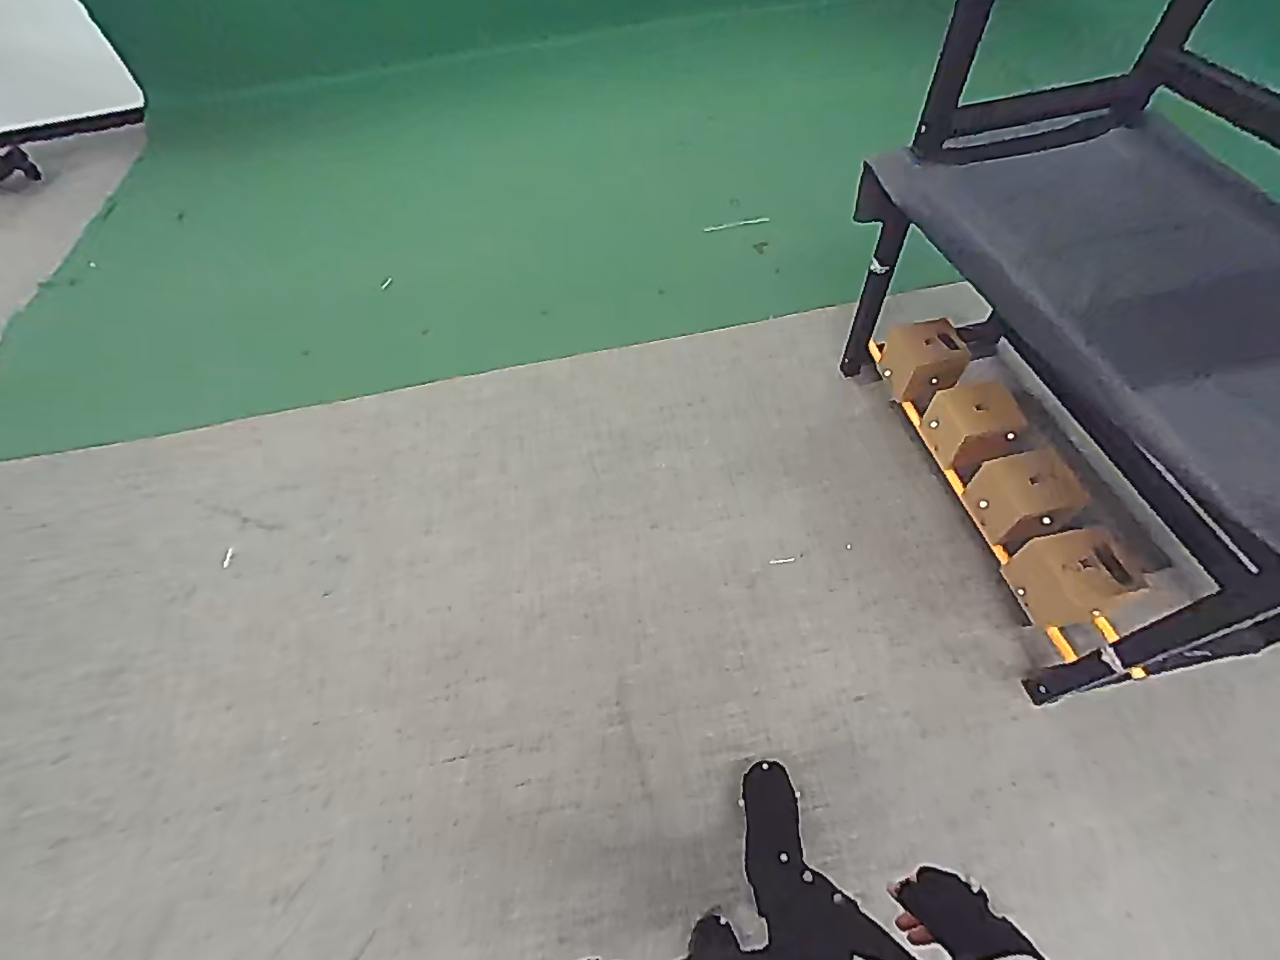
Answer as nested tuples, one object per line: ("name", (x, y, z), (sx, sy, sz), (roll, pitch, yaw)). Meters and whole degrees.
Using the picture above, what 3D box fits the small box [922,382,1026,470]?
("small box", (0.930, -0.148, 1.532), (0.179, 0.176, 0.168), (-11, 57, -1))

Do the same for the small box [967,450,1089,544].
("small box", (0.981, 0.050, 1.394), (0.179, 0.176, 0.168), (-12, 57, -2))
